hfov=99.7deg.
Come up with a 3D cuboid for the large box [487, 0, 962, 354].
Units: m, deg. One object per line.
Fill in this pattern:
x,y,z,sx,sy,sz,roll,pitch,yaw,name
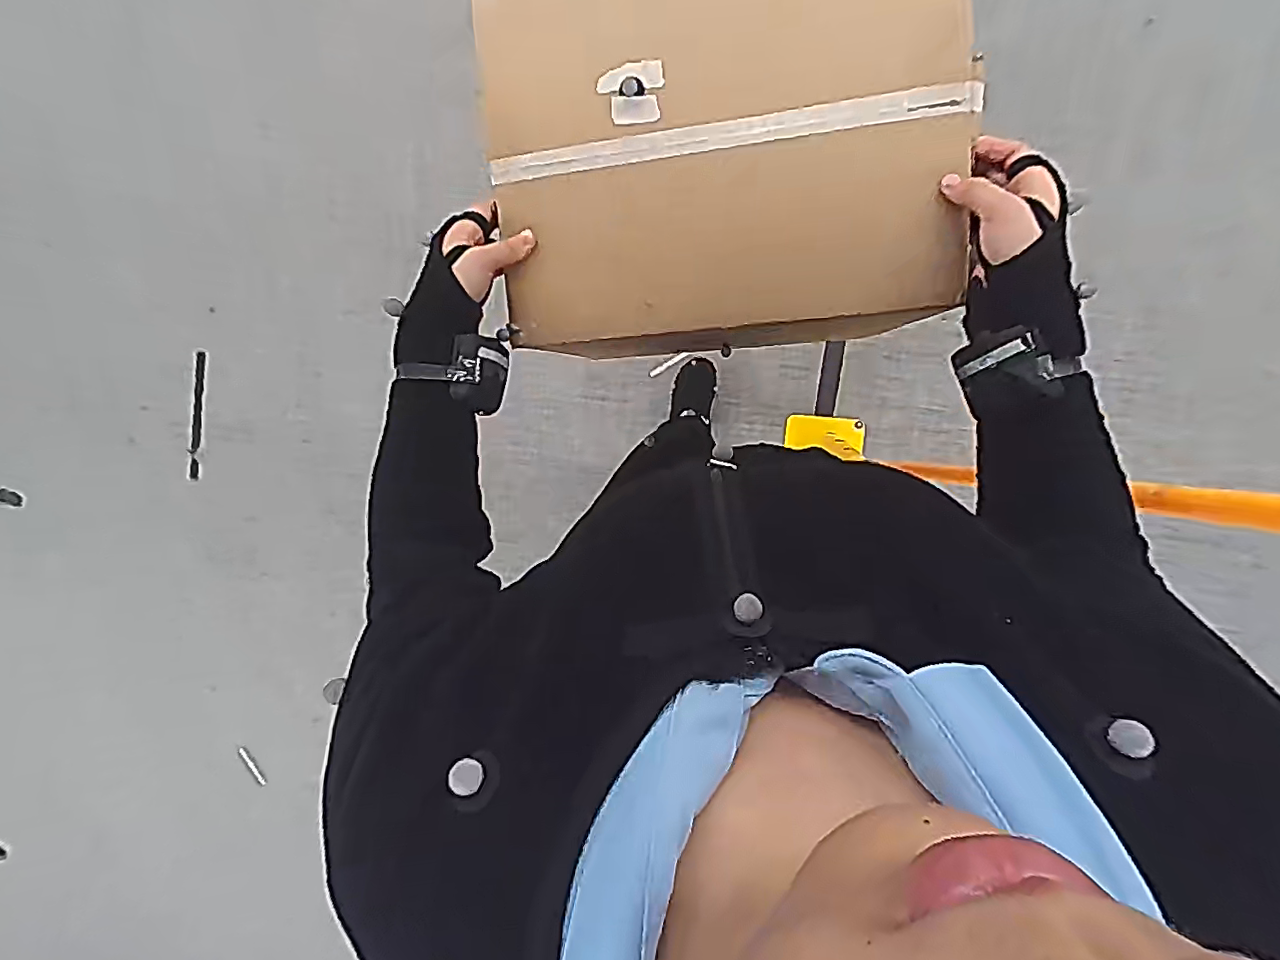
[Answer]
0.095,-0.324,0.618,0.408,0.320,0.320,-3,98,11,large box
